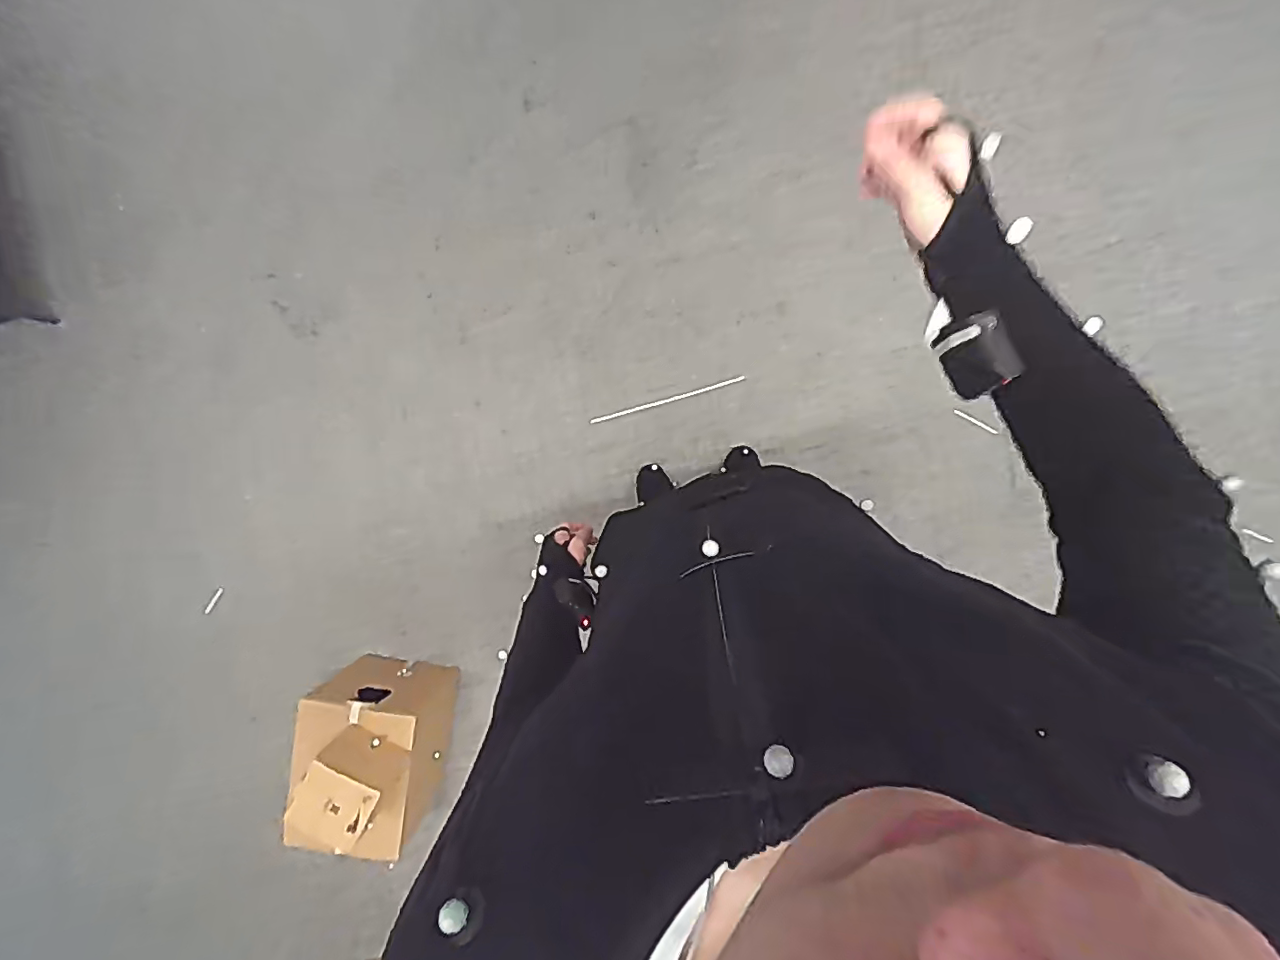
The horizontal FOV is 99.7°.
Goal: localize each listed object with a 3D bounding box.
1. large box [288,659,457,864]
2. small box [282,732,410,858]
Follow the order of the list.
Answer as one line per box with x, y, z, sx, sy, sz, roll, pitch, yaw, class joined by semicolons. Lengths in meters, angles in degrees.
-0.738;0.773;1.539;0.320;0.320;0.408;8;93;2;large box
-0.690;0.737;1.289;0.179;0.176;0.168;28;93;-1;small box
